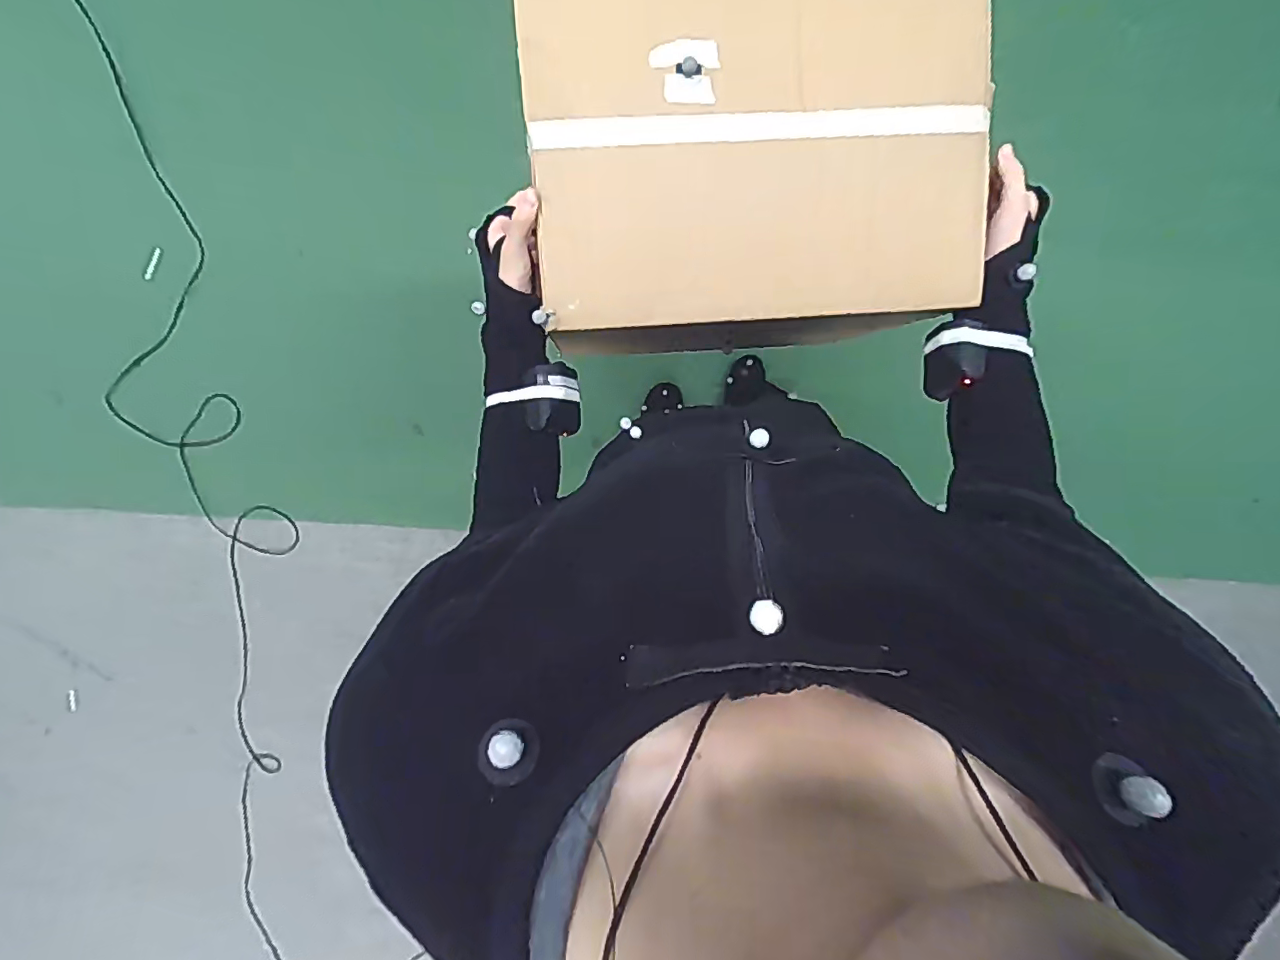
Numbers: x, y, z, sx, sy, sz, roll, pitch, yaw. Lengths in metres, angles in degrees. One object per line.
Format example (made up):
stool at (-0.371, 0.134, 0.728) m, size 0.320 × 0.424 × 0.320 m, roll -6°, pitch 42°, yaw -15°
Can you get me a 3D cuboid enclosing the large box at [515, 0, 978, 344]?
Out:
large box at (0.093, -0.334, 0.621) m, size 0.408 × 0.320 × 0.320 m, roll -4°, pitch 99°, yaw -3°
